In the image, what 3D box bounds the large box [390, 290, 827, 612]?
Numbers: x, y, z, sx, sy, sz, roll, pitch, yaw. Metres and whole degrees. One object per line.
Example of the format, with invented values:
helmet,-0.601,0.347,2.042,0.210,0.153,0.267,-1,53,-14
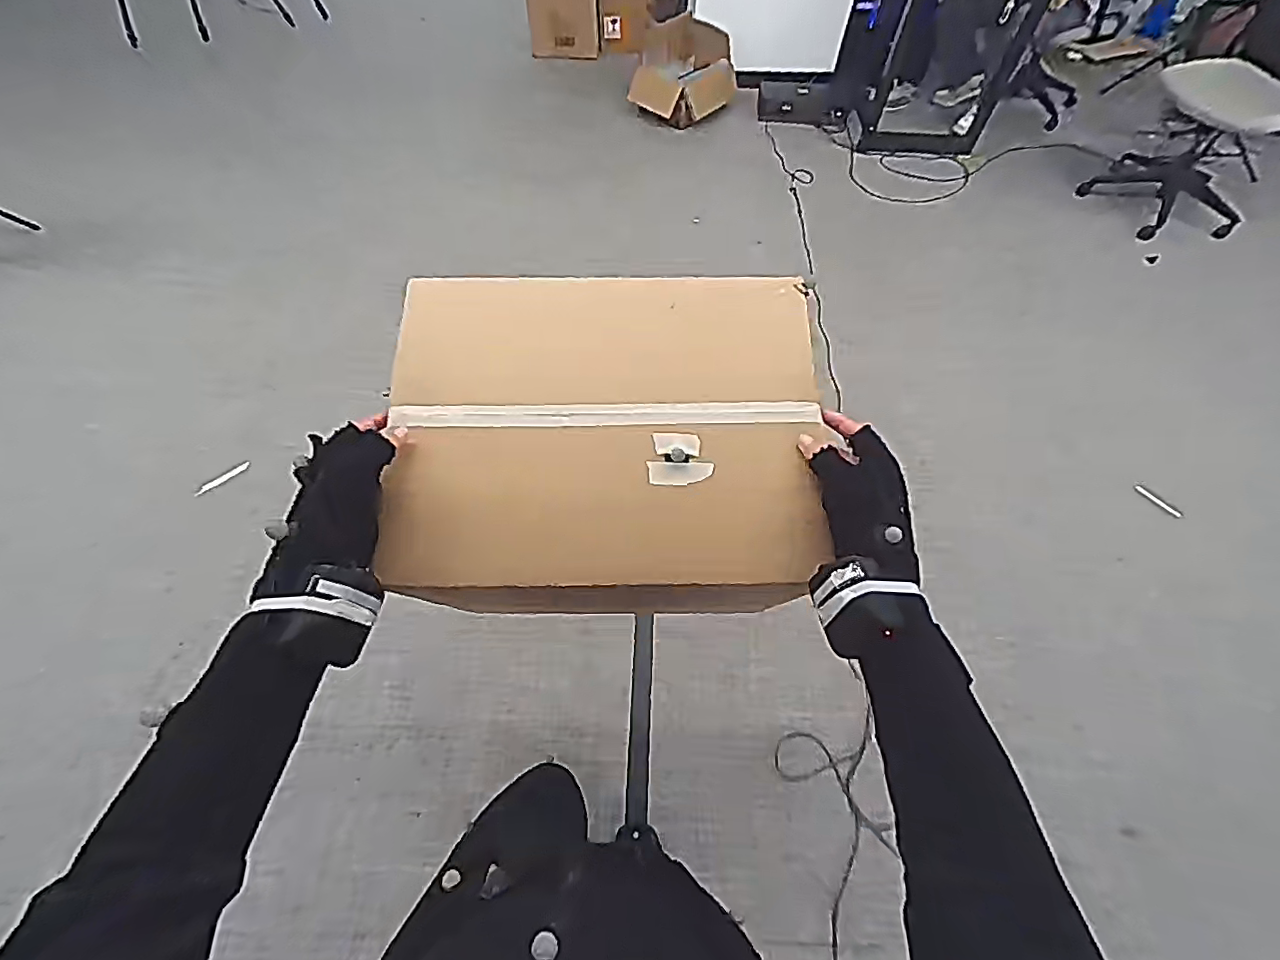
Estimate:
large box,-0.035,-0.011,0.672,0.408,0.320,0.320,0,73,-1
